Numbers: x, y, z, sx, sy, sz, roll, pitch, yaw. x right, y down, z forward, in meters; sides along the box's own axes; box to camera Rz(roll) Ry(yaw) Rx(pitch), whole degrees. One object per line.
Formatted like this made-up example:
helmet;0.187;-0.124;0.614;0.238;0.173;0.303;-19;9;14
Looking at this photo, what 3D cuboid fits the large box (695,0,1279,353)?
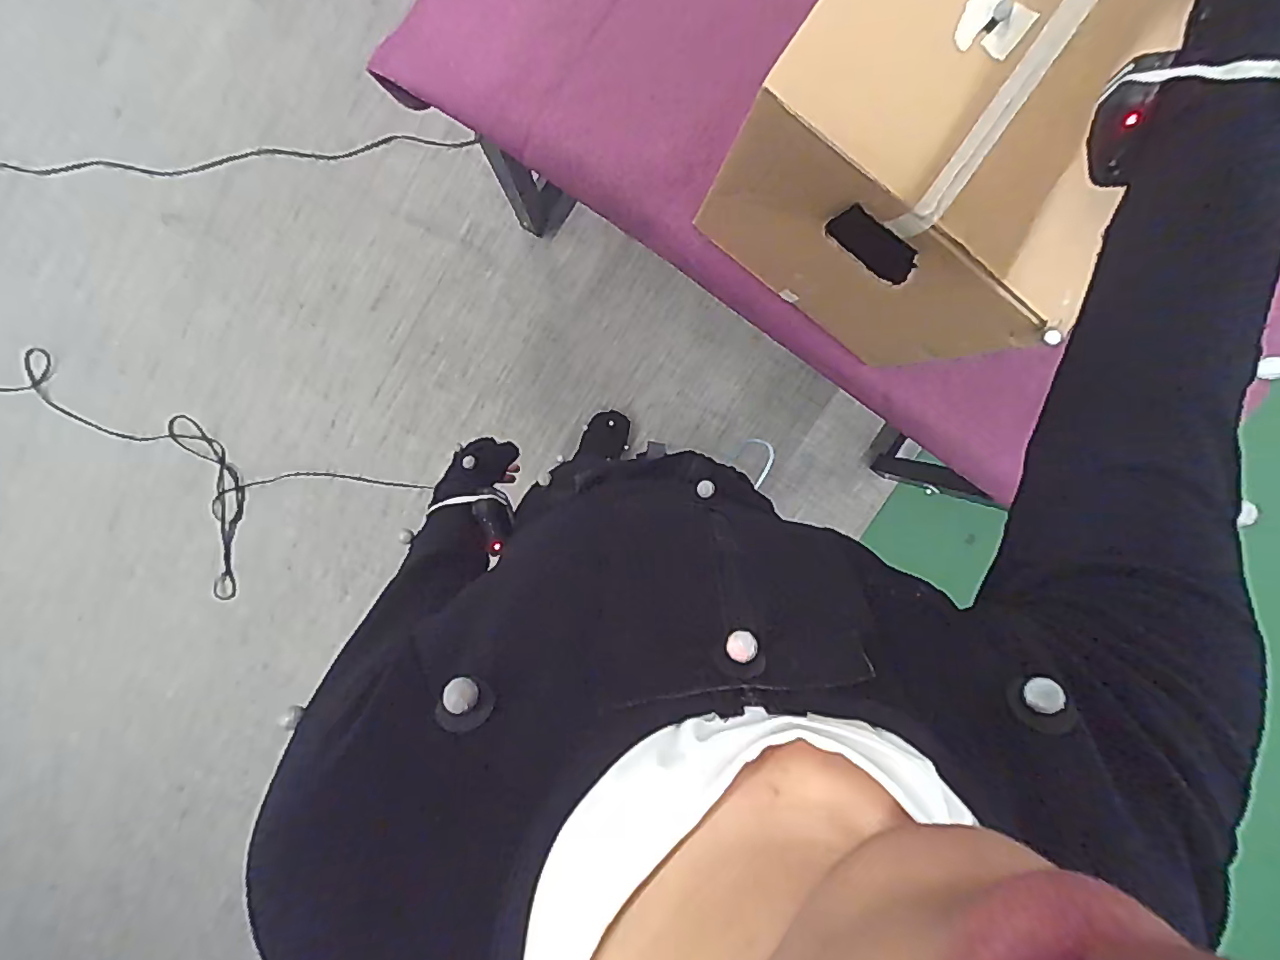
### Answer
large box;0.314;-0.395;0.566;0.320;0.320;0.408;35;95;-8
